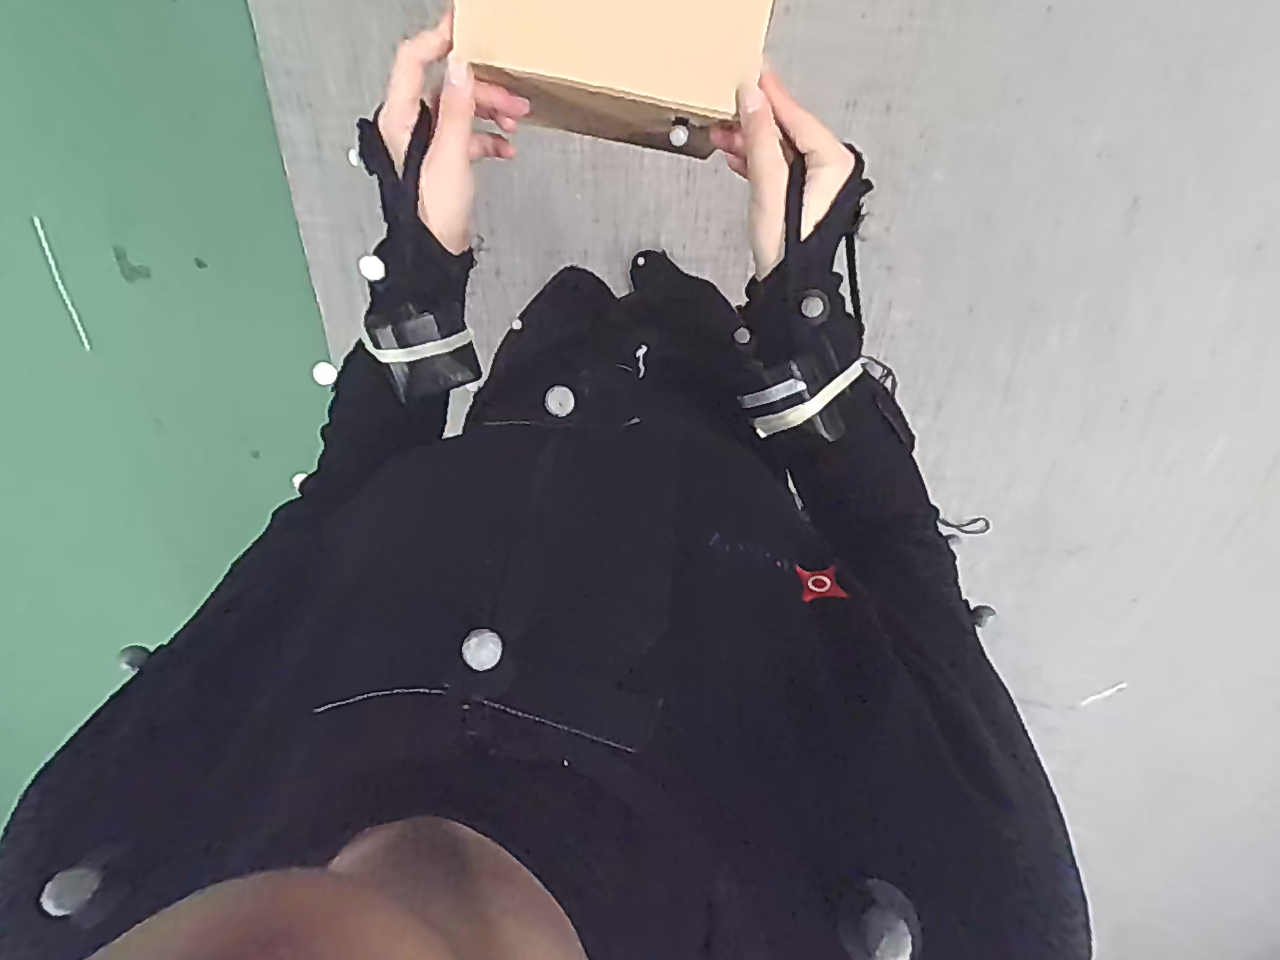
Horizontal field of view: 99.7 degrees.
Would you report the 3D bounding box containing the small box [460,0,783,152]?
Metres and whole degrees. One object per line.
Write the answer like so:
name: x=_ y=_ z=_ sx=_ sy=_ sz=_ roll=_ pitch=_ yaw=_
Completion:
small box: x=-0.005 y=-0.332 z=0.354 sx=0.179 sy=0.176 sz=0.168 roll=7 pitch=113 yaw=-7
